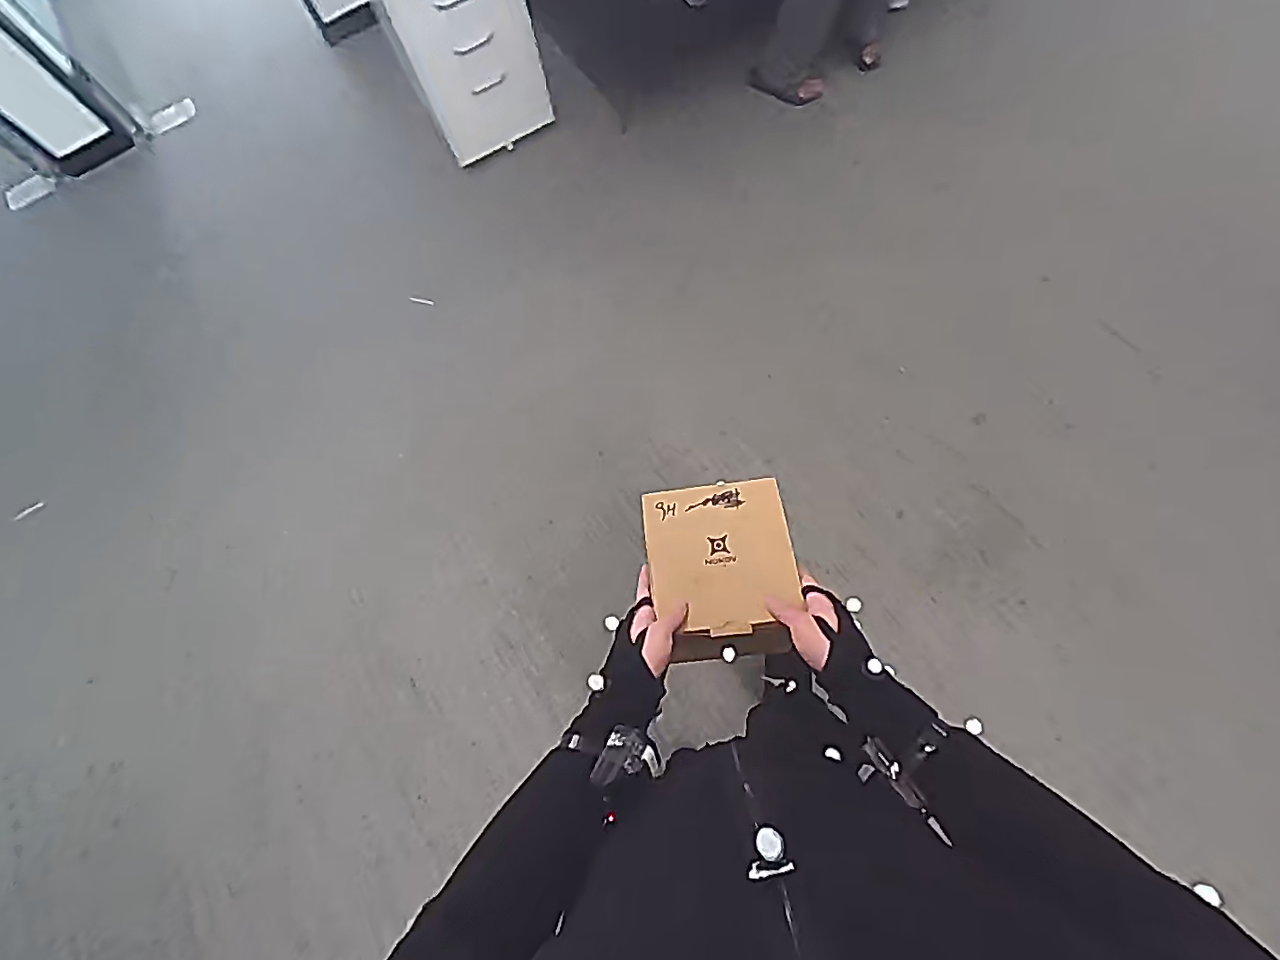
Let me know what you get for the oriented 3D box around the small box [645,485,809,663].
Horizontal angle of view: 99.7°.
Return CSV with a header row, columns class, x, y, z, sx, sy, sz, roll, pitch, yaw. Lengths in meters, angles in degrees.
class,x,y,z,sx,sy,sz,roll,pitch,yaw
small box,0.105,0.130,0.696,0.168,0.176,0.179,-9,61,2
